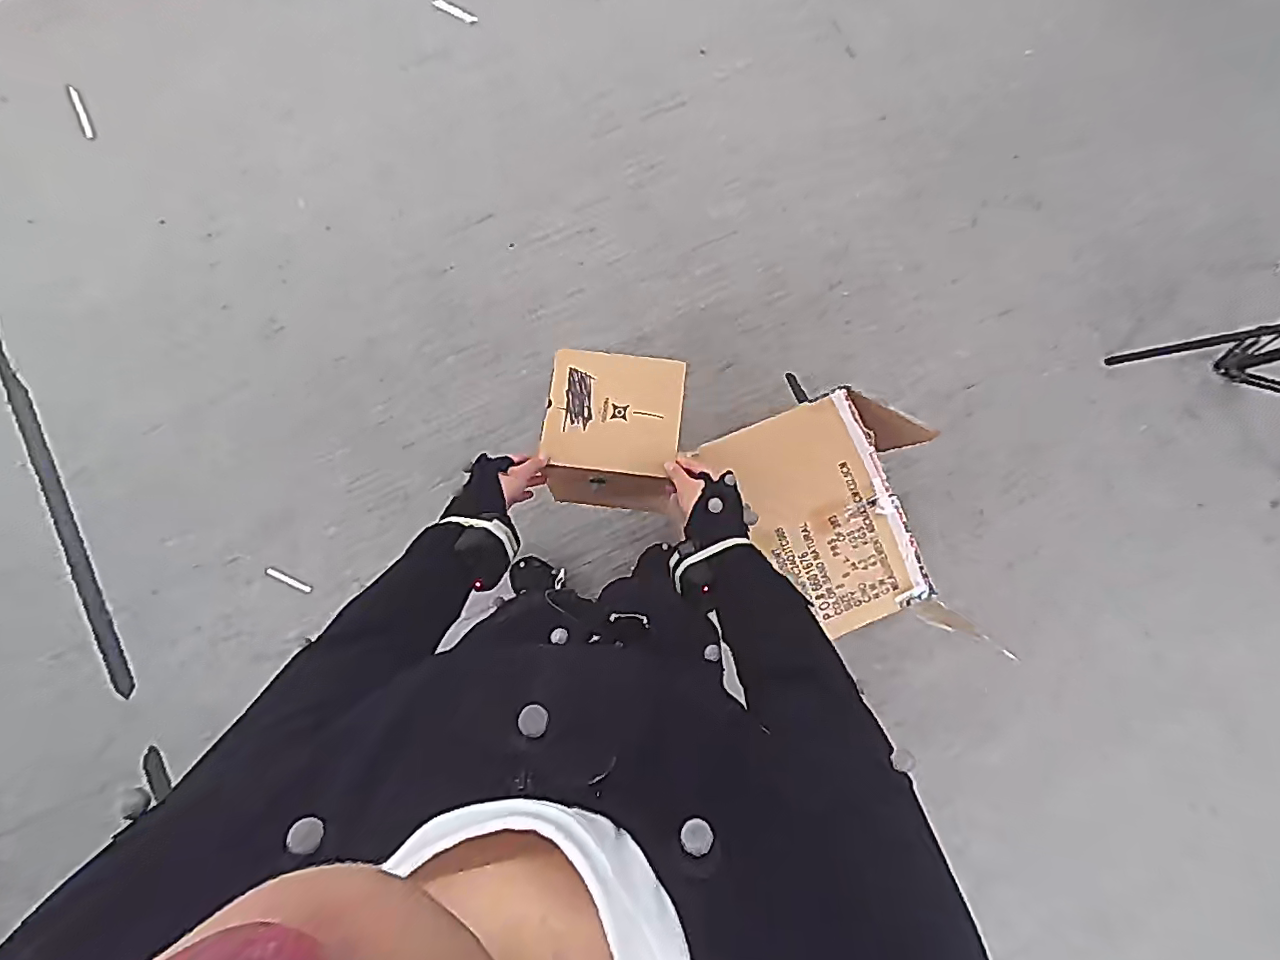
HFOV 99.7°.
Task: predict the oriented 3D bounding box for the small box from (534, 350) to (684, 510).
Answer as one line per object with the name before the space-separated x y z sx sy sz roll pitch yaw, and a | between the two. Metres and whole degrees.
small box | -0.037 -0.062 0.764 0.179 0.176 0.168 6 72 1
